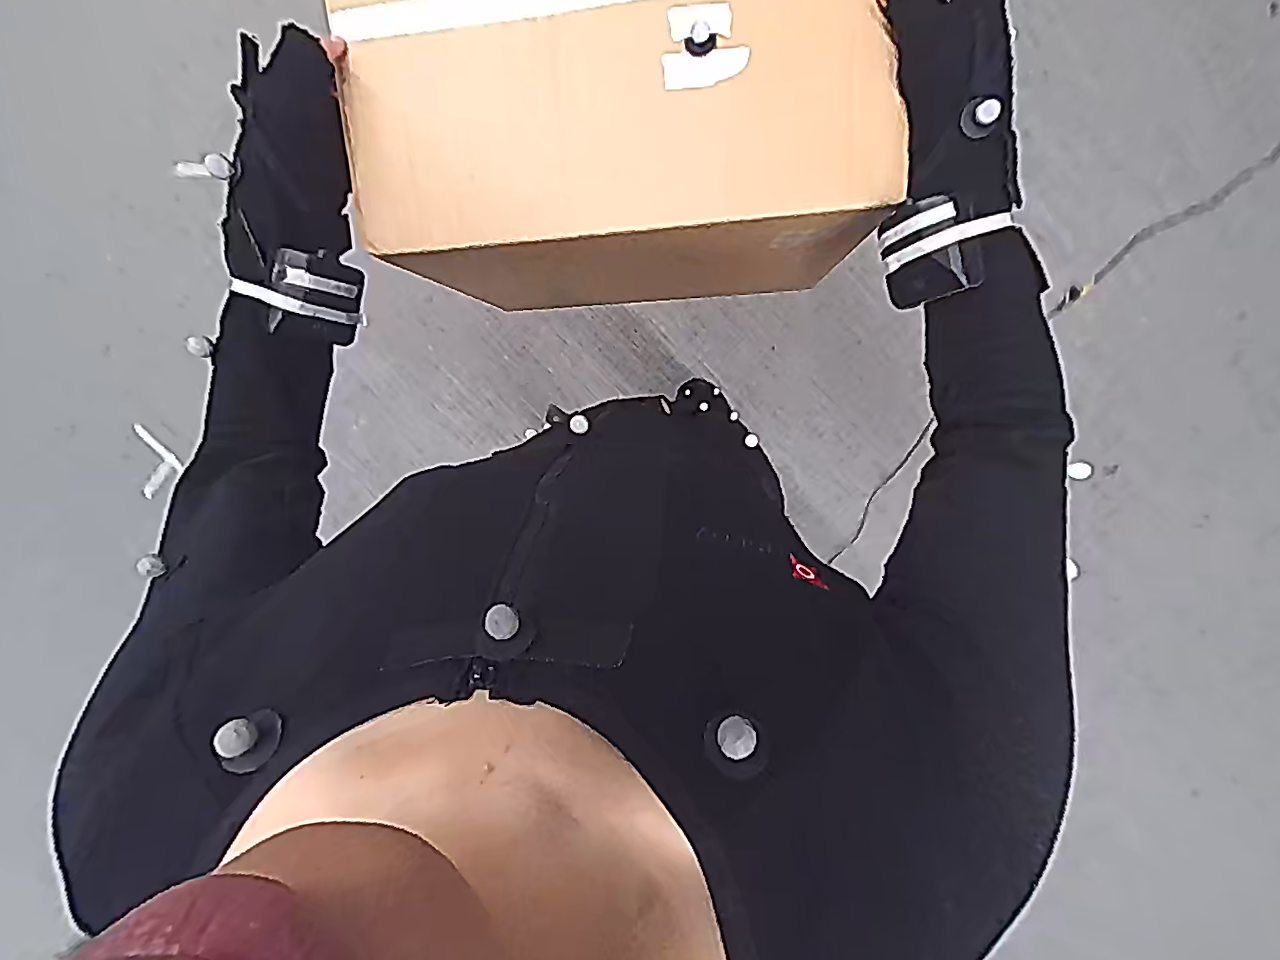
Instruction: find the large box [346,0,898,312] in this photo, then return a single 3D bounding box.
[{"bbox_3d":[-0.011,-0.368,0.538,0.408,0.320,0.320,-4,99,6],"label":"large box"}]
